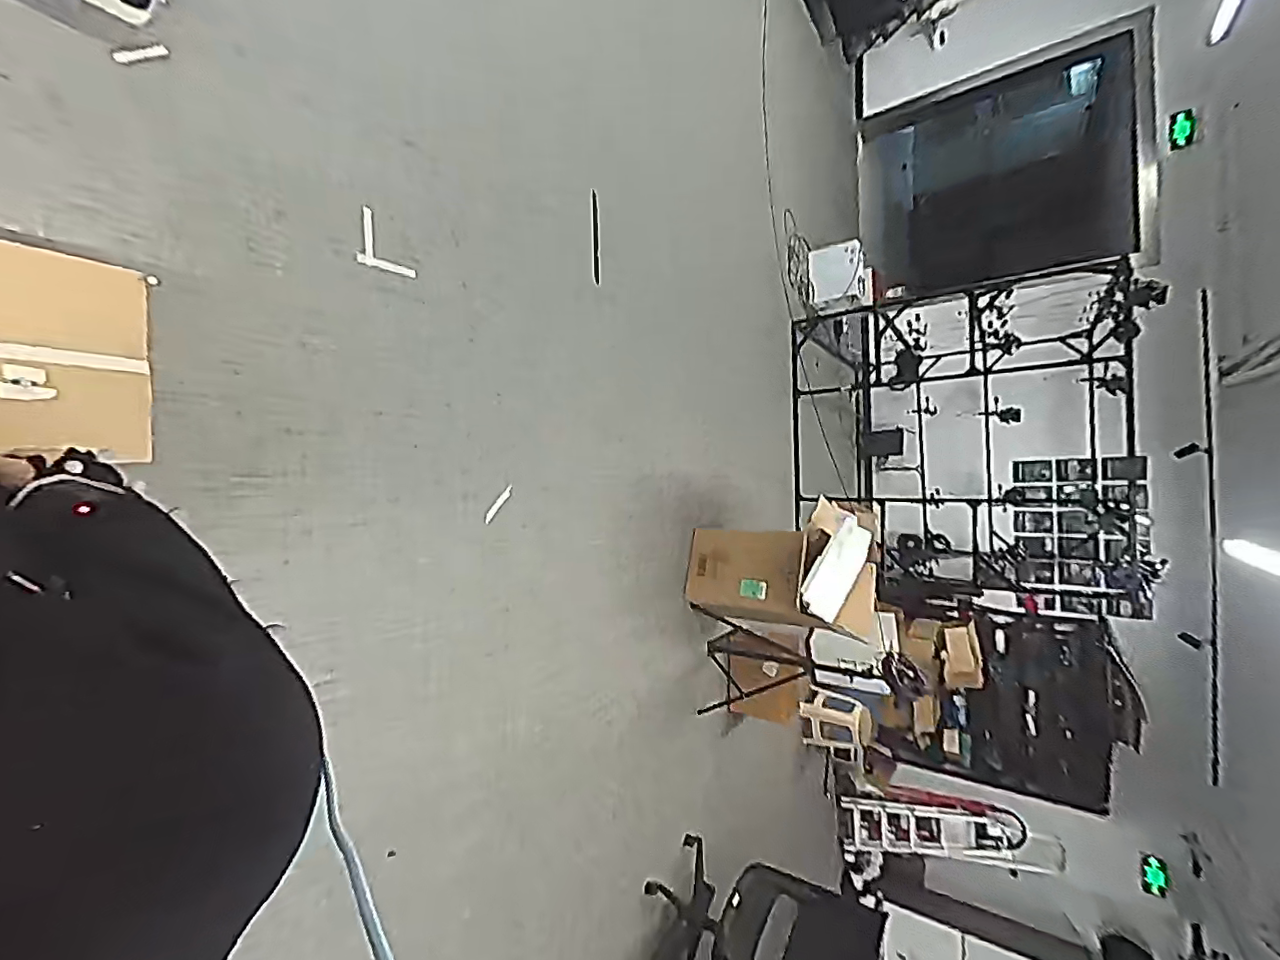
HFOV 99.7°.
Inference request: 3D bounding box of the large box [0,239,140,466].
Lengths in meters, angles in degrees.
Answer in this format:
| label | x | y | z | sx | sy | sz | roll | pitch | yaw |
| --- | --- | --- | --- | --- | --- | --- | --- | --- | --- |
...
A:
| label | x | y | z | sx | sy | sz | roll | pitch | yaw |
| --- | --- | --- | --- | --- | --- | --- | --- | --- | --- |
| large box | -1.048 | -0.180 | 0.789 | 0.408 | 0.320 | 0.320 | -1 | 90 | -57 |
